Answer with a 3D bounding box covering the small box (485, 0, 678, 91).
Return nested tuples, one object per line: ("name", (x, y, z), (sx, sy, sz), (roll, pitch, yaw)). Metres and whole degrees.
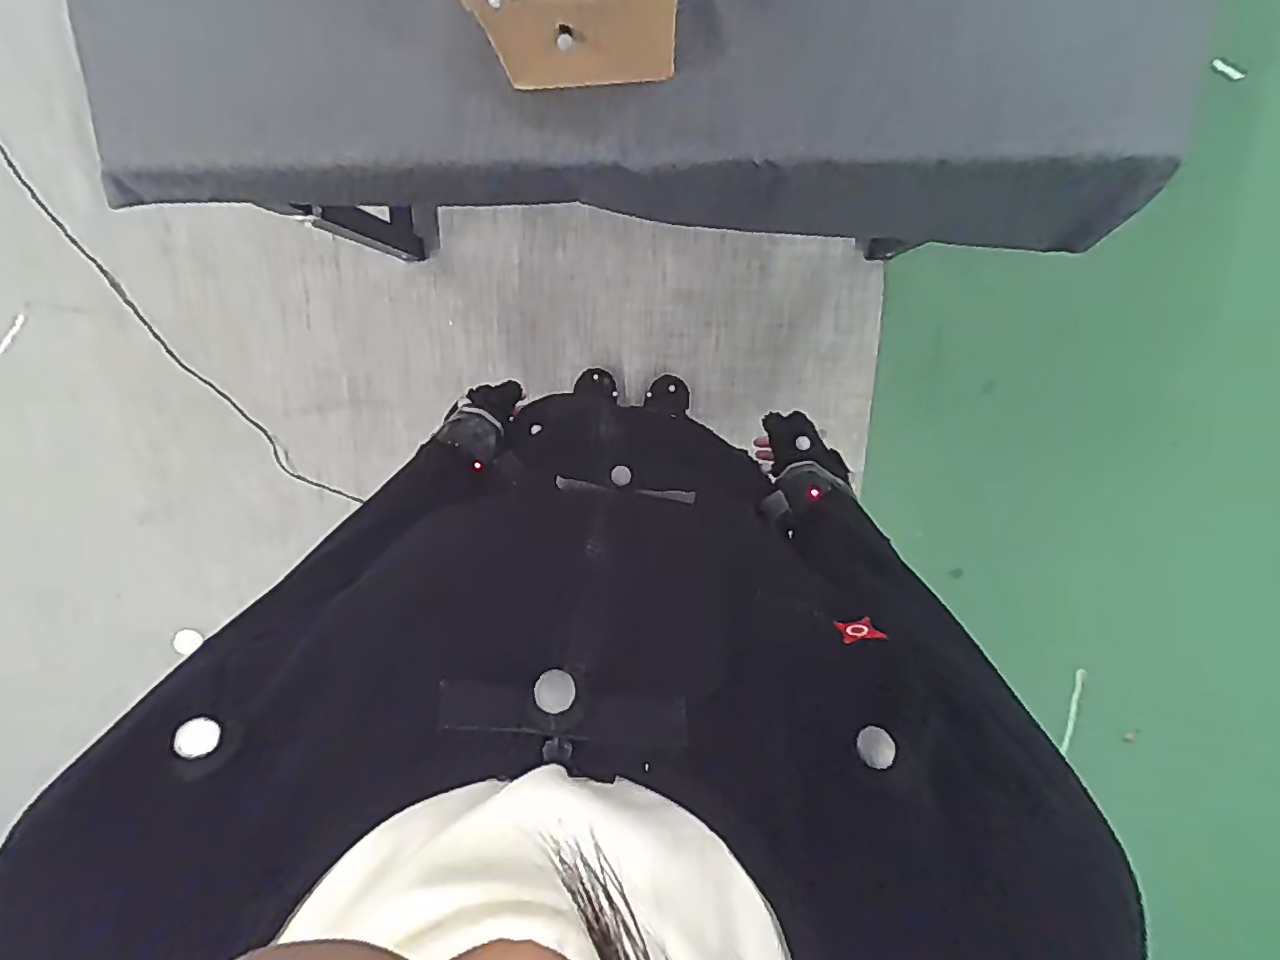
("small box", (-0.056, -0.499, 0.504), (0.179, 0.176, 0.168), (-6, 100, 3))
